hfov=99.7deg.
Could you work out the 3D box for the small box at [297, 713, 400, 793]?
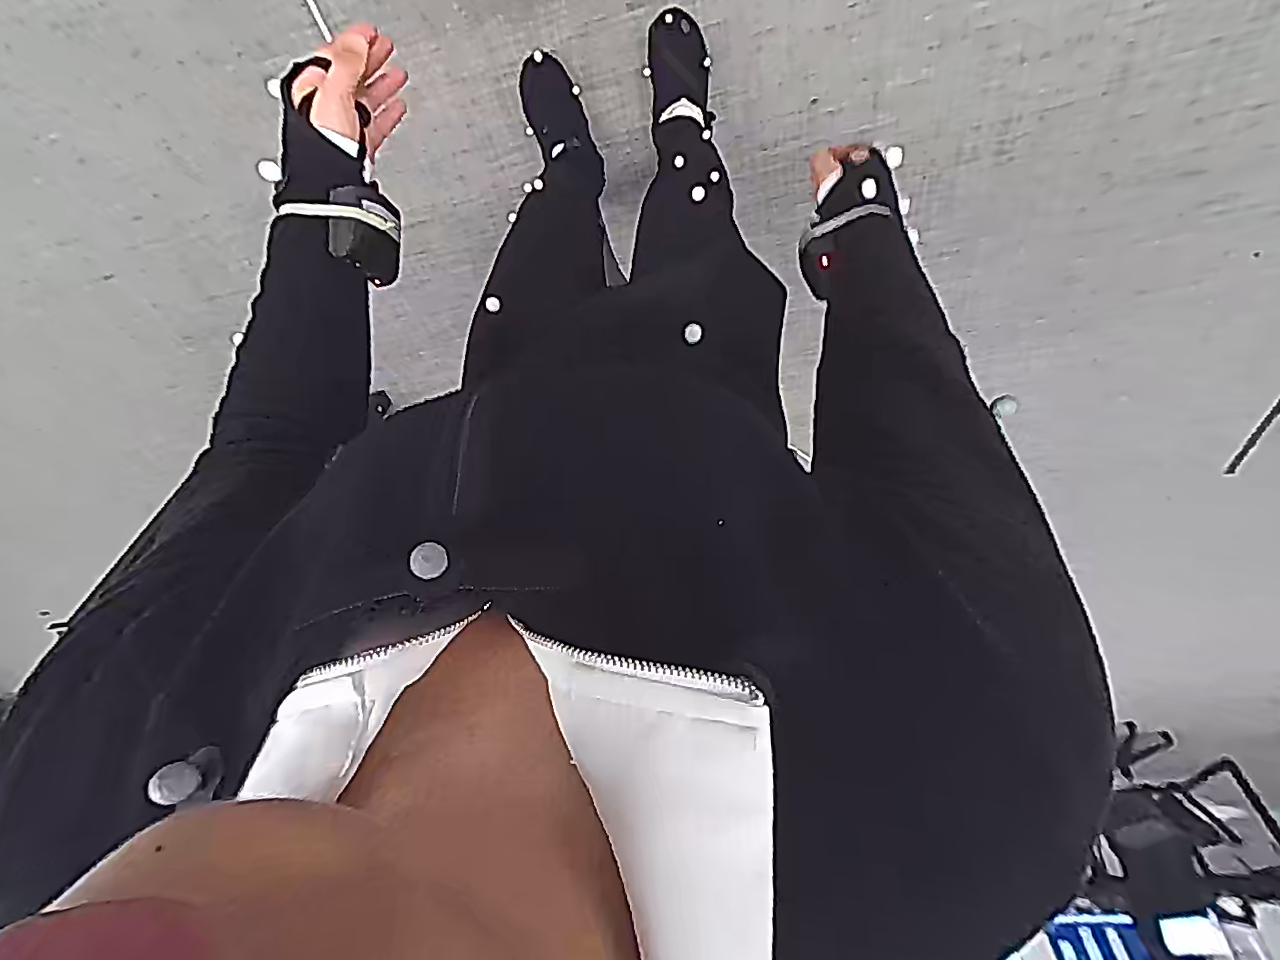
[{"bbox_3d":[-0.828,0.782,1.553,0.168,0.176,0.179,-7,136,10],"label":"small box"}]
